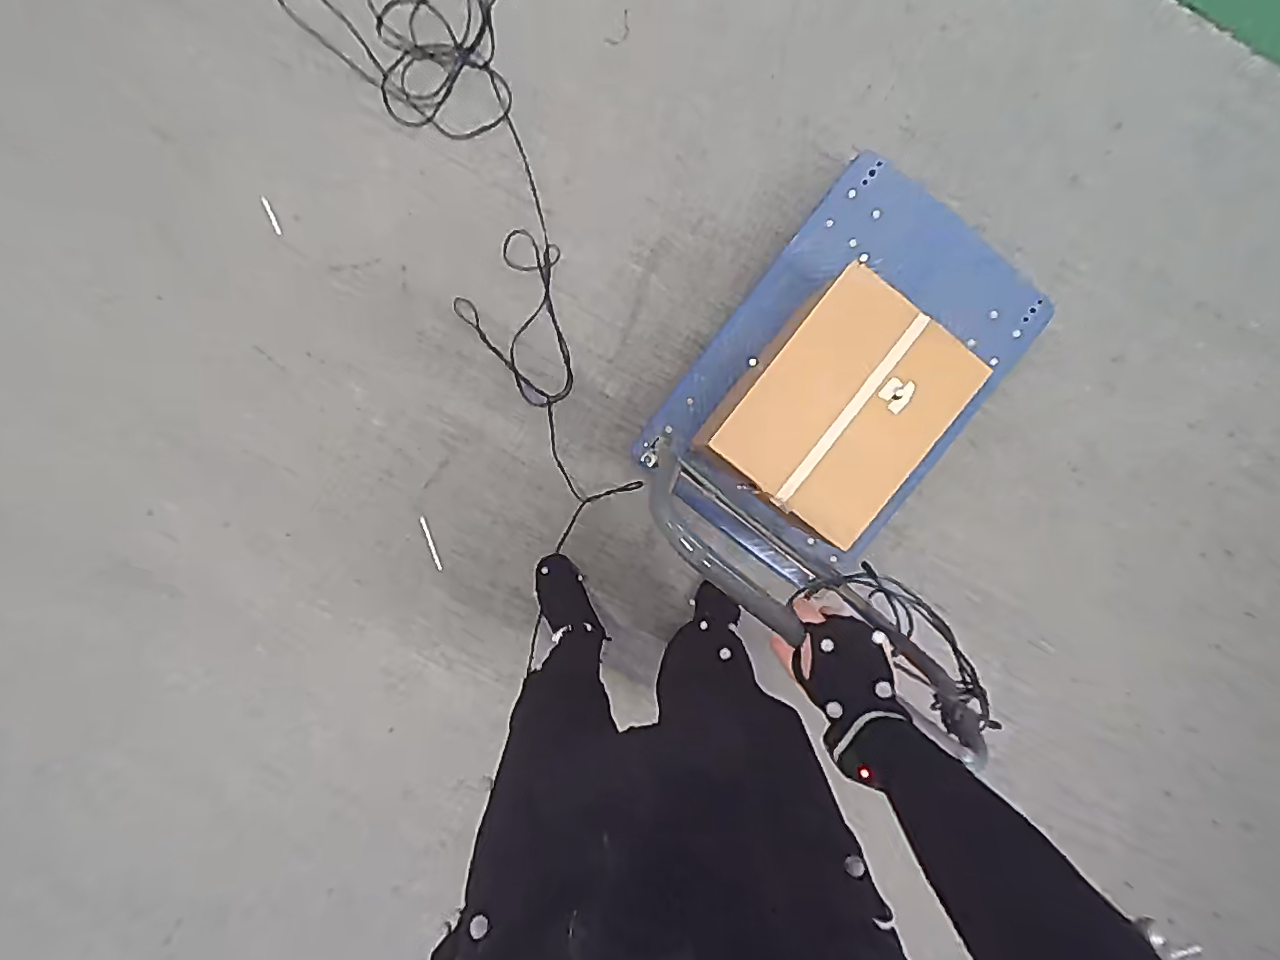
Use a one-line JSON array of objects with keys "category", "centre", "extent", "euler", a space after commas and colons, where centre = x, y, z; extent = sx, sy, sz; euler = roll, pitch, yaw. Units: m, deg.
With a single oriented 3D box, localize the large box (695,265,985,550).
[{"category": "large box", "centre": [0.358, -0.128, 1.084], "extent": [0.320, 0.320, 0.408], "euler": [38, 92, -3]}]
